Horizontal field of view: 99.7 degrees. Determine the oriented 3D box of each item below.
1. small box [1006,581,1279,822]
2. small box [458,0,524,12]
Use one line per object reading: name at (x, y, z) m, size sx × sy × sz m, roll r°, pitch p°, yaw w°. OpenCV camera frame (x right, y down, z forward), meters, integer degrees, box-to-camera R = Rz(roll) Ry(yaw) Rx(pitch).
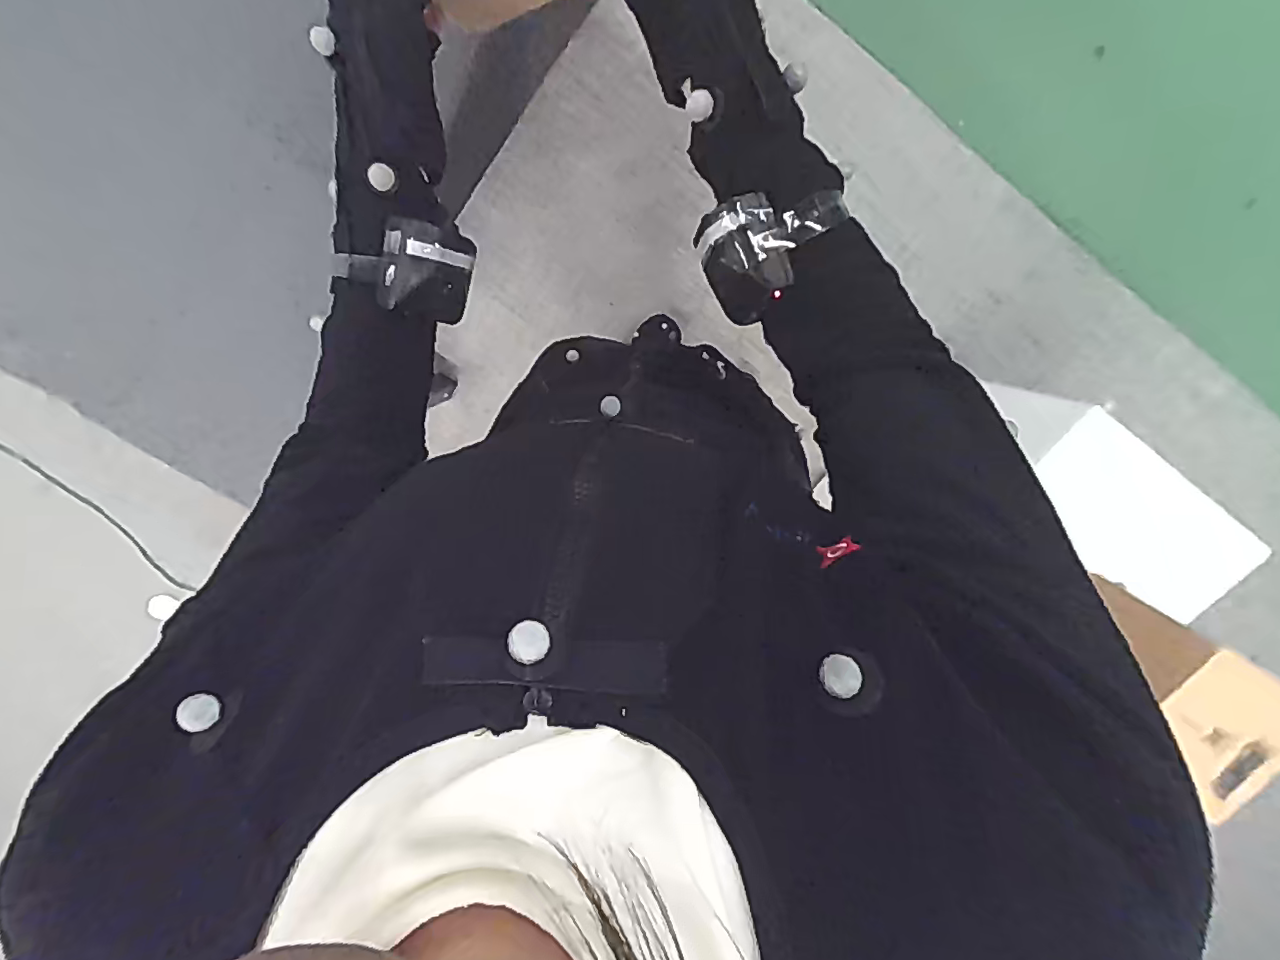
small box at (0.594, 0.247, 0.635) m, size 0.179 × 0.176 × 0.168 m, roll 28°, pitch 107°, yaw -9°
small box at (-0.087, -0.422, 0.322) m, size 0.179 × 0.176 × 0.168 m, roll -8°, pitch 119°, yaw 16°
